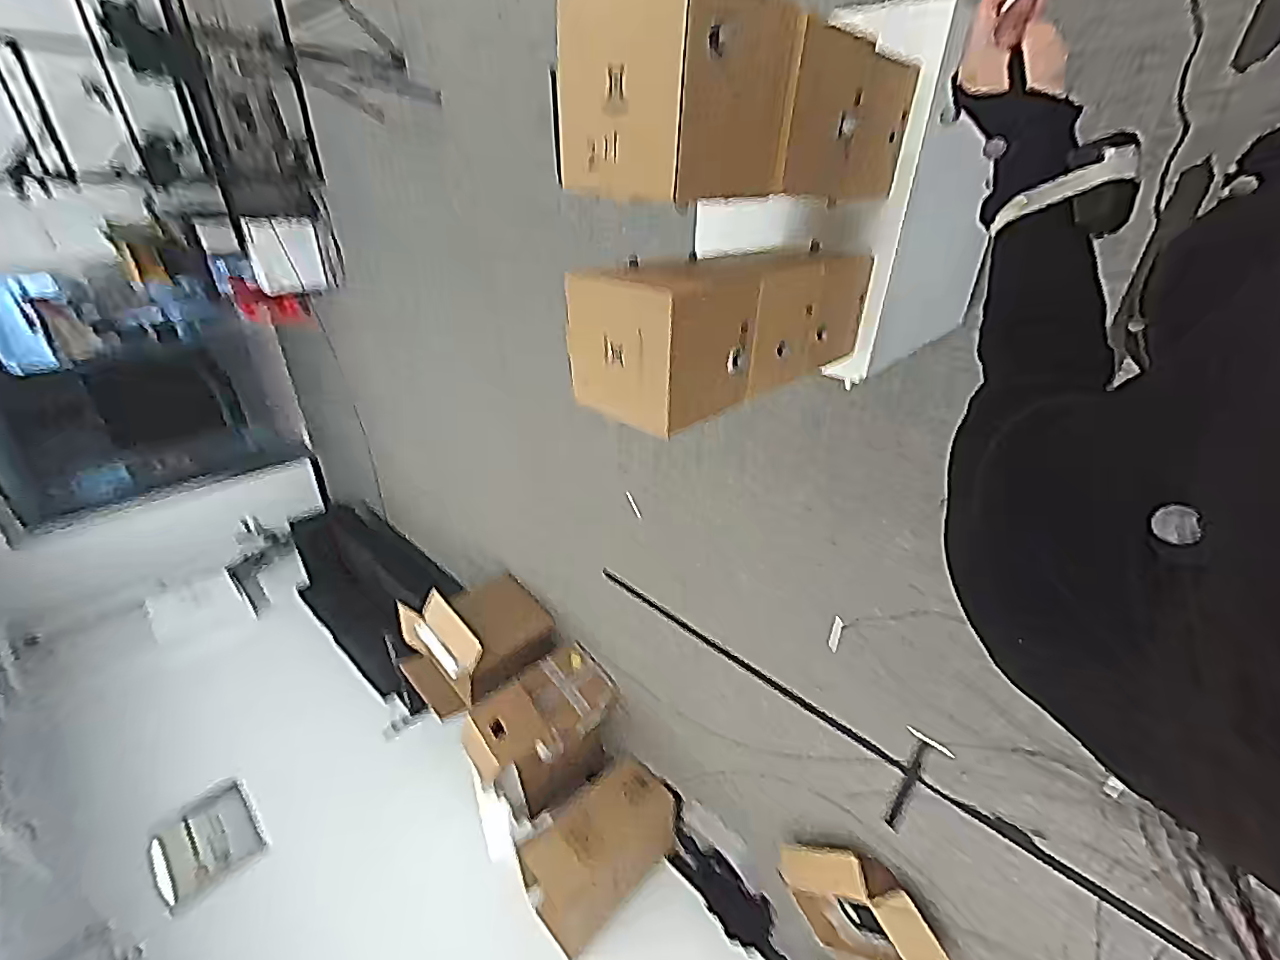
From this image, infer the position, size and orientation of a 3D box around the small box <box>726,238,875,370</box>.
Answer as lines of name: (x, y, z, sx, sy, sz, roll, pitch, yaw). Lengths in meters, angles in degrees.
small box: (0.250, -0.297, 0.887, 0.179, 0.176, 0.168, 28, 131, 37)

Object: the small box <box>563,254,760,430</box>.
small box: (0.025, -0.185, 0.683, 0.179, 0.176, 0.168, 26, 129, 36)

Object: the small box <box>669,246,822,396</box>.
small box: (0.139, -0.240, 0.784, 0.179, 0.176, 0.168, 27, 129, 37)

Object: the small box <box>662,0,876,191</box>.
small box: (0.150, -0.450, 0.652, 0.179, 0.176, 0.168, 28, 130, 34)
